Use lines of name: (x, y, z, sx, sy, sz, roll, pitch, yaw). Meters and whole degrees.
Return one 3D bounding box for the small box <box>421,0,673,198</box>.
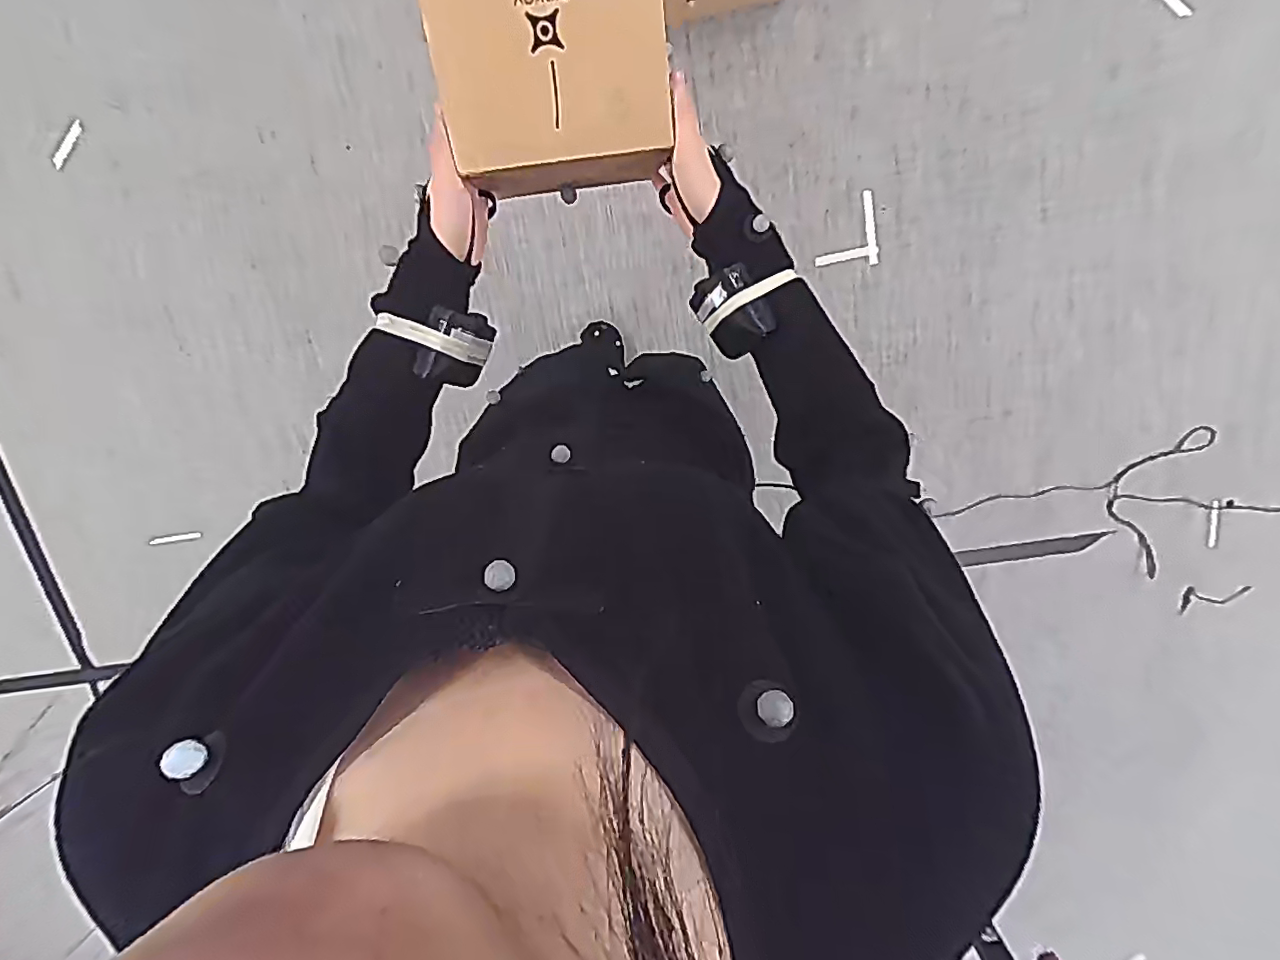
small box: (-0.070, -0.346, 0.442, 0.168, 0.176, 0.179, -8, 112, -1)
